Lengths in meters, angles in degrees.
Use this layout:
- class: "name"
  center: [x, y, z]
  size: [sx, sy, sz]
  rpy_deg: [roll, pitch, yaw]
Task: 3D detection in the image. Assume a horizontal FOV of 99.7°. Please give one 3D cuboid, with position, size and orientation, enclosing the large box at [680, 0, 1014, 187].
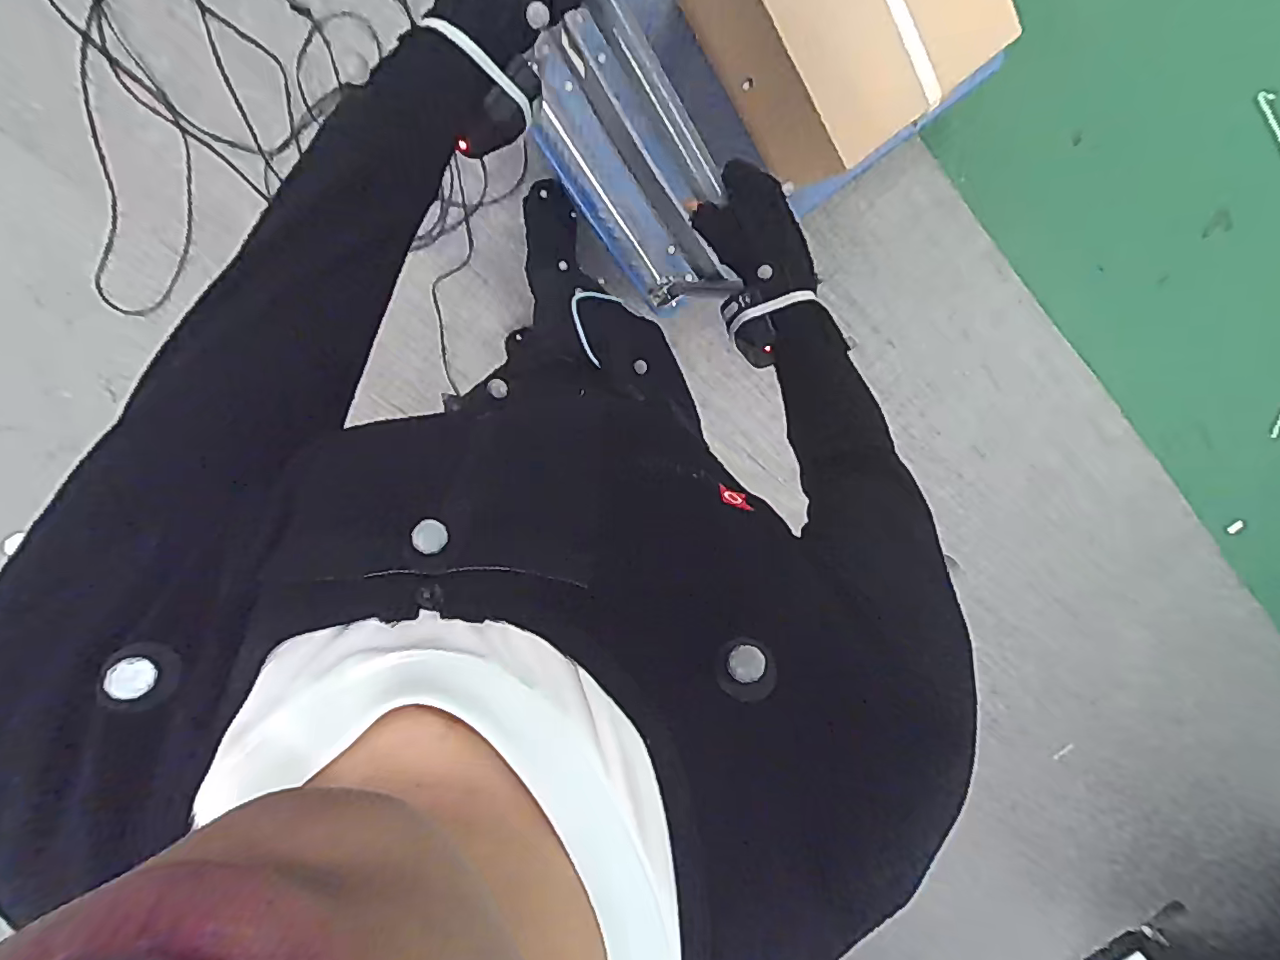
- class: "large box"
  center: [0.319, -0.787, 0.913]
  size: [0.320, 0.320, 0.408]
  rpy_deg: [-36, 111, 8]
